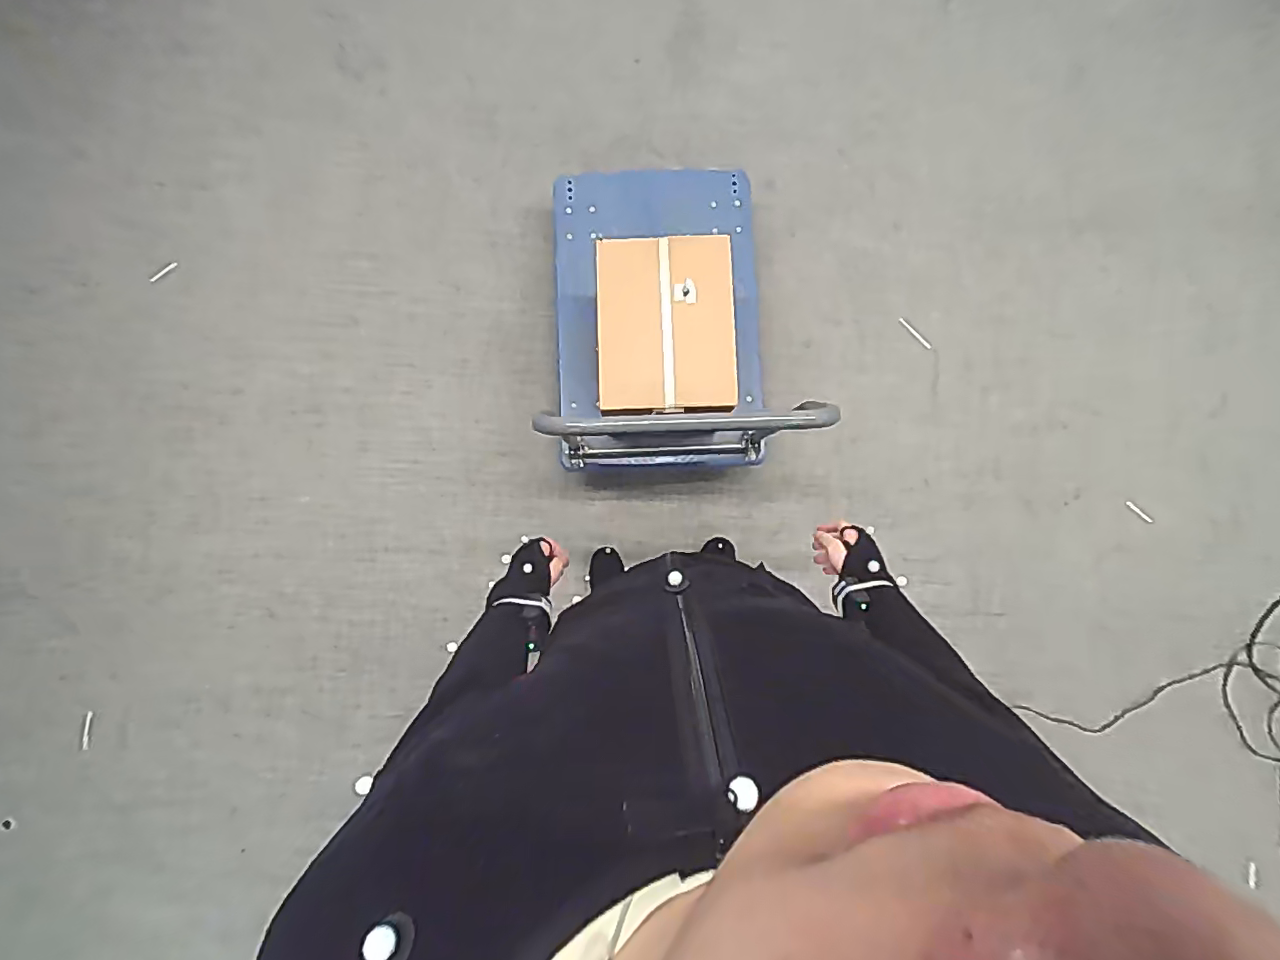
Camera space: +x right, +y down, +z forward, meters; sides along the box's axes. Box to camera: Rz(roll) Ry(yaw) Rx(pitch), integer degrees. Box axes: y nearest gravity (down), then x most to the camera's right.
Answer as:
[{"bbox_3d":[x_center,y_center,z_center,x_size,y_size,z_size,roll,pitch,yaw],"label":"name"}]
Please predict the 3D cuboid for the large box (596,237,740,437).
[{"bbox_3d":[0.063,-0.339,1.370,0.320,0.320,0.408,-2,83,0],"label":"large box"}]
